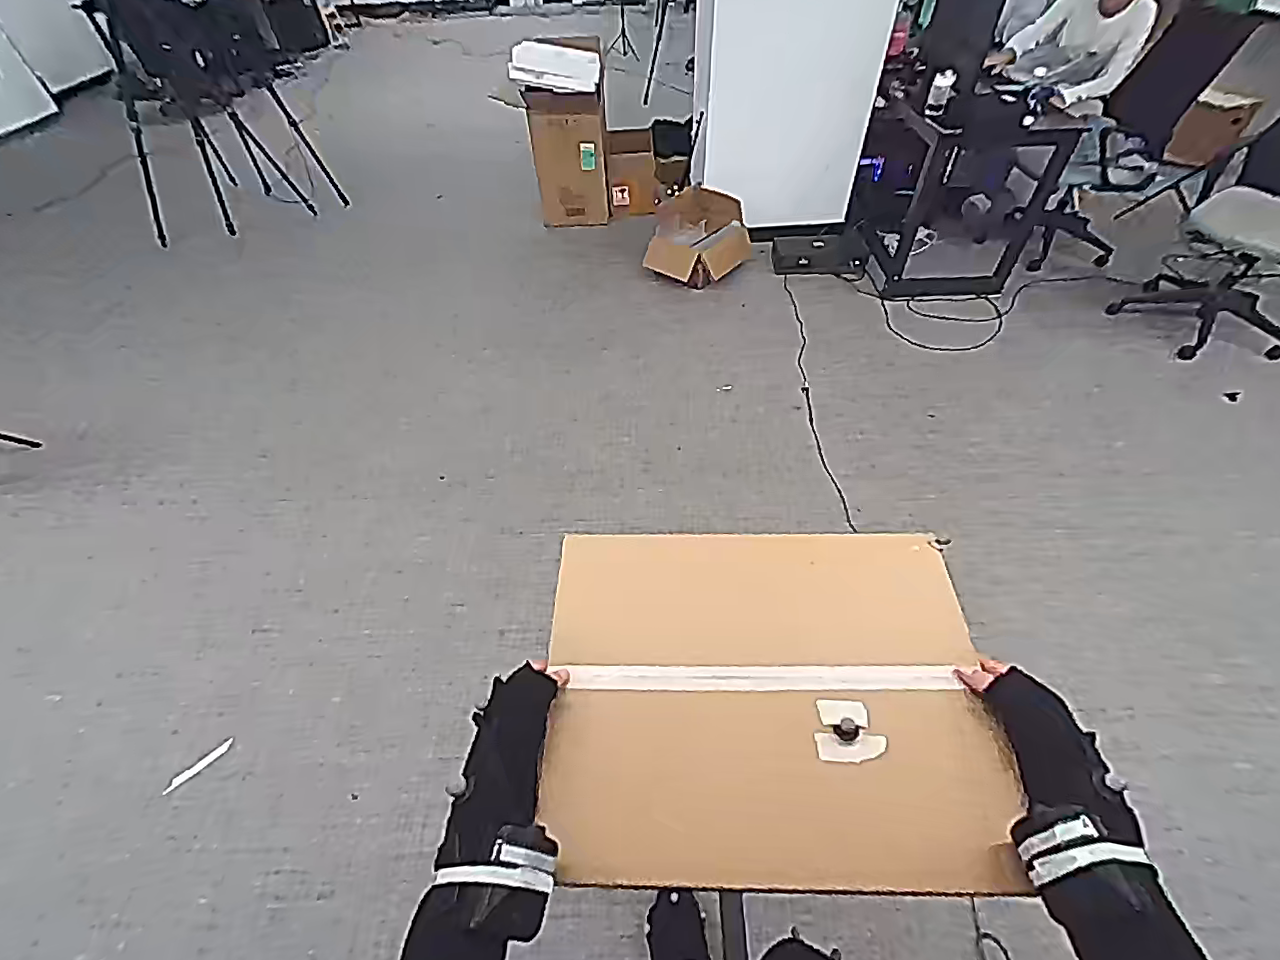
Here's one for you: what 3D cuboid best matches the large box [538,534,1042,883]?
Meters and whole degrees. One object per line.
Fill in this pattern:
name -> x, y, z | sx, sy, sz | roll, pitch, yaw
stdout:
large box -> 0.120, 0.274, 0.630 | 0.408, 0.320, 0.320 | 0, 54, 2
